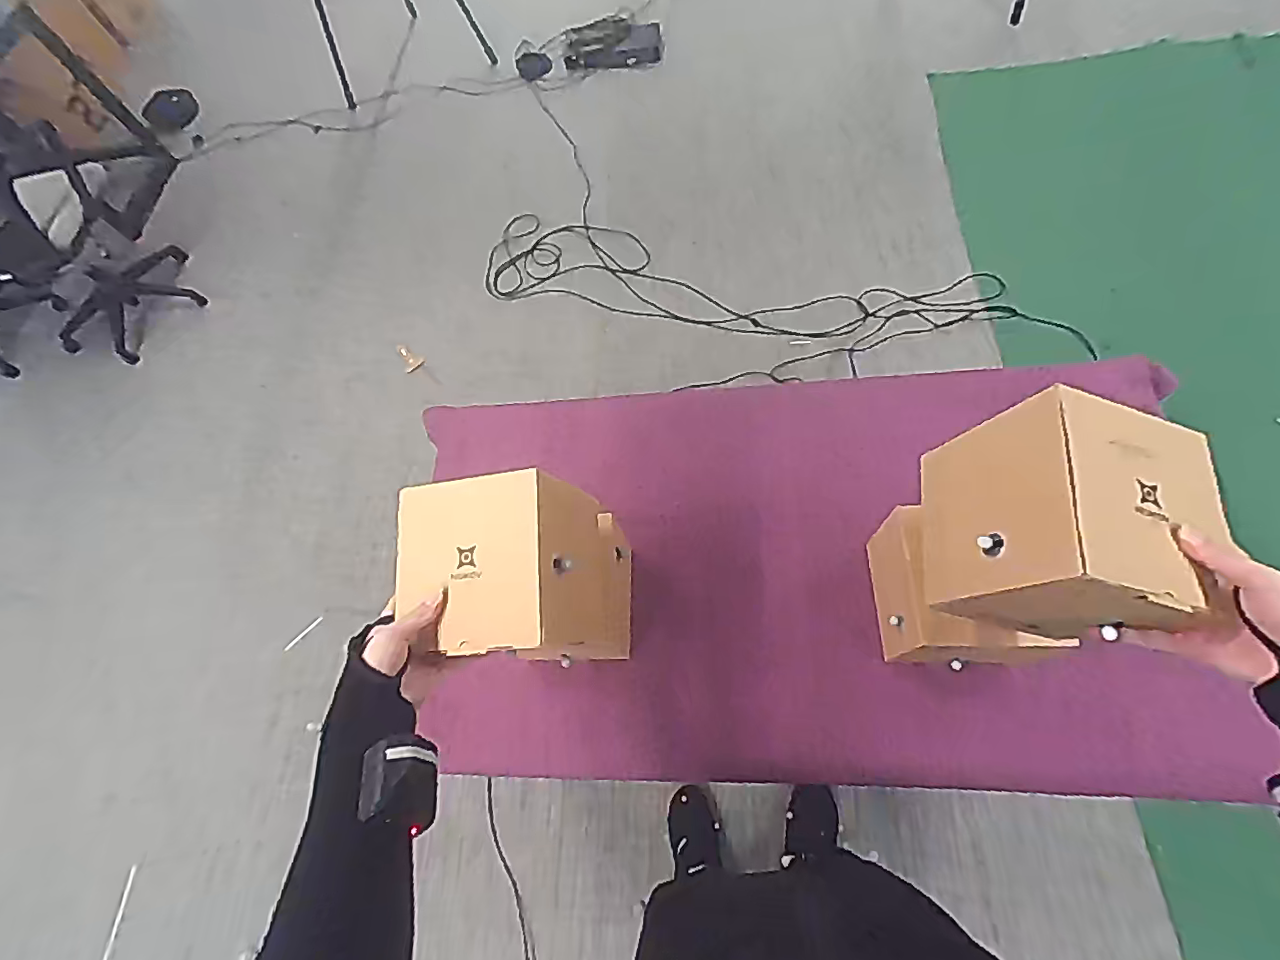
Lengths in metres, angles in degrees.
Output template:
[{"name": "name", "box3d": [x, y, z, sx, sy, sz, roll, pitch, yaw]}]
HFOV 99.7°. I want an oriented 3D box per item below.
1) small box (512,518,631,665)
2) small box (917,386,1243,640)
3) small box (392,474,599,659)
[{"name": "small box", "box3d": [-0.109, 0.168, 0.791, 0.168, 0.176, 0.179, -3, 65, 9]}, {"name": "small box", "box3d": [0.391, 0.046, 0.517, 0.168, 0.176, 0.179, 16, 66, -9]}, {"name": "small box", "box3d": [-0.155, 0.105, 0.620, 0.168, 0.176, 0.179, -9, 76, 16]}]
